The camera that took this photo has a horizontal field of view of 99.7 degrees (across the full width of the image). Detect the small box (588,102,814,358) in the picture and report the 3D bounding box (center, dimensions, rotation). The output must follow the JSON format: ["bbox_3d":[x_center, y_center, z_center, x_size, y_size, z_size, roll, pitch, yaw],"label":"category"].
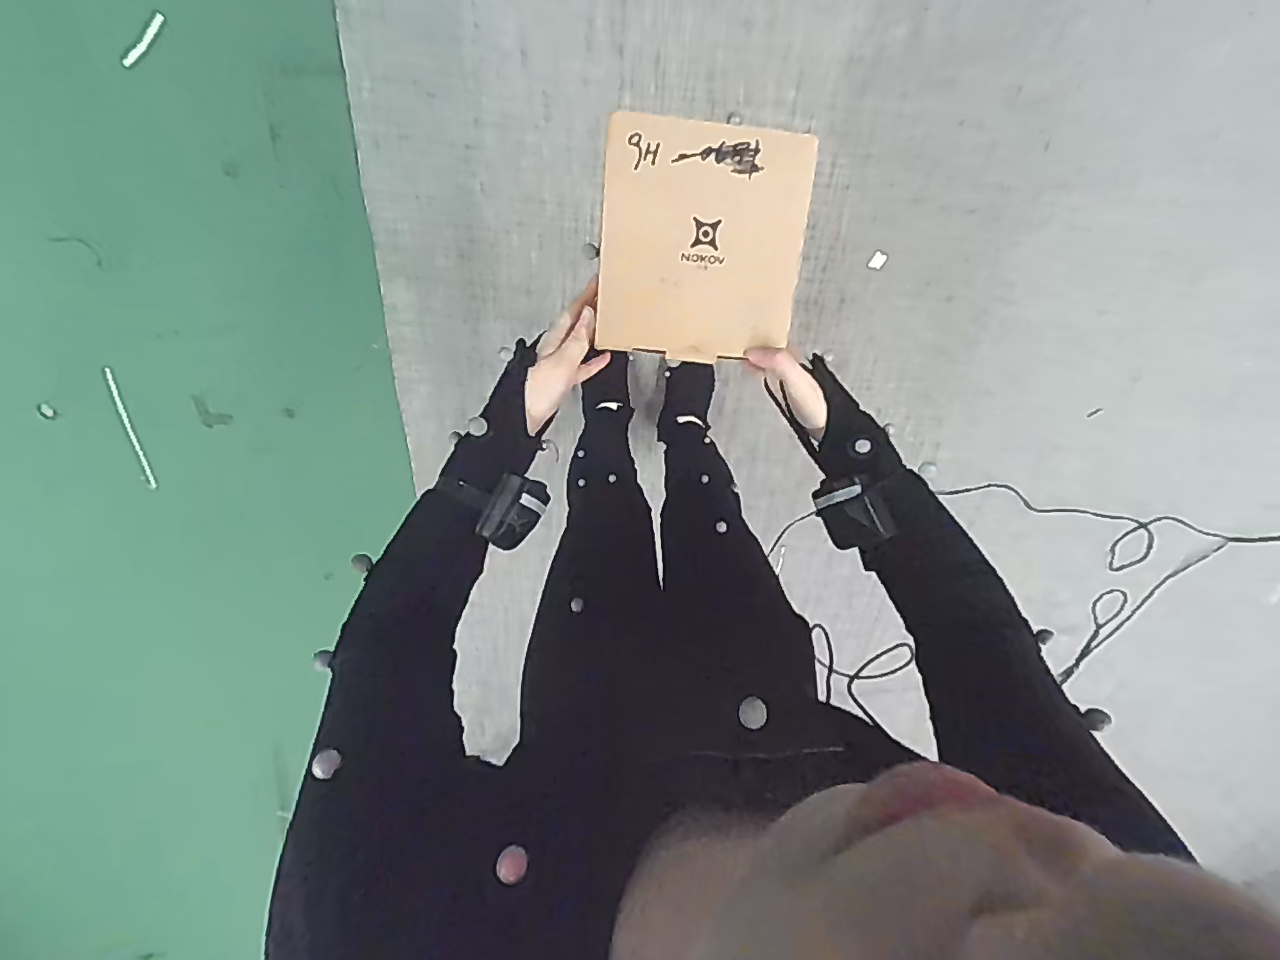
[{"bbox_3d":[0.042,-0.218,0.510,0.168,0.176,0.179,4,107,-5],"label":"small box"}]
